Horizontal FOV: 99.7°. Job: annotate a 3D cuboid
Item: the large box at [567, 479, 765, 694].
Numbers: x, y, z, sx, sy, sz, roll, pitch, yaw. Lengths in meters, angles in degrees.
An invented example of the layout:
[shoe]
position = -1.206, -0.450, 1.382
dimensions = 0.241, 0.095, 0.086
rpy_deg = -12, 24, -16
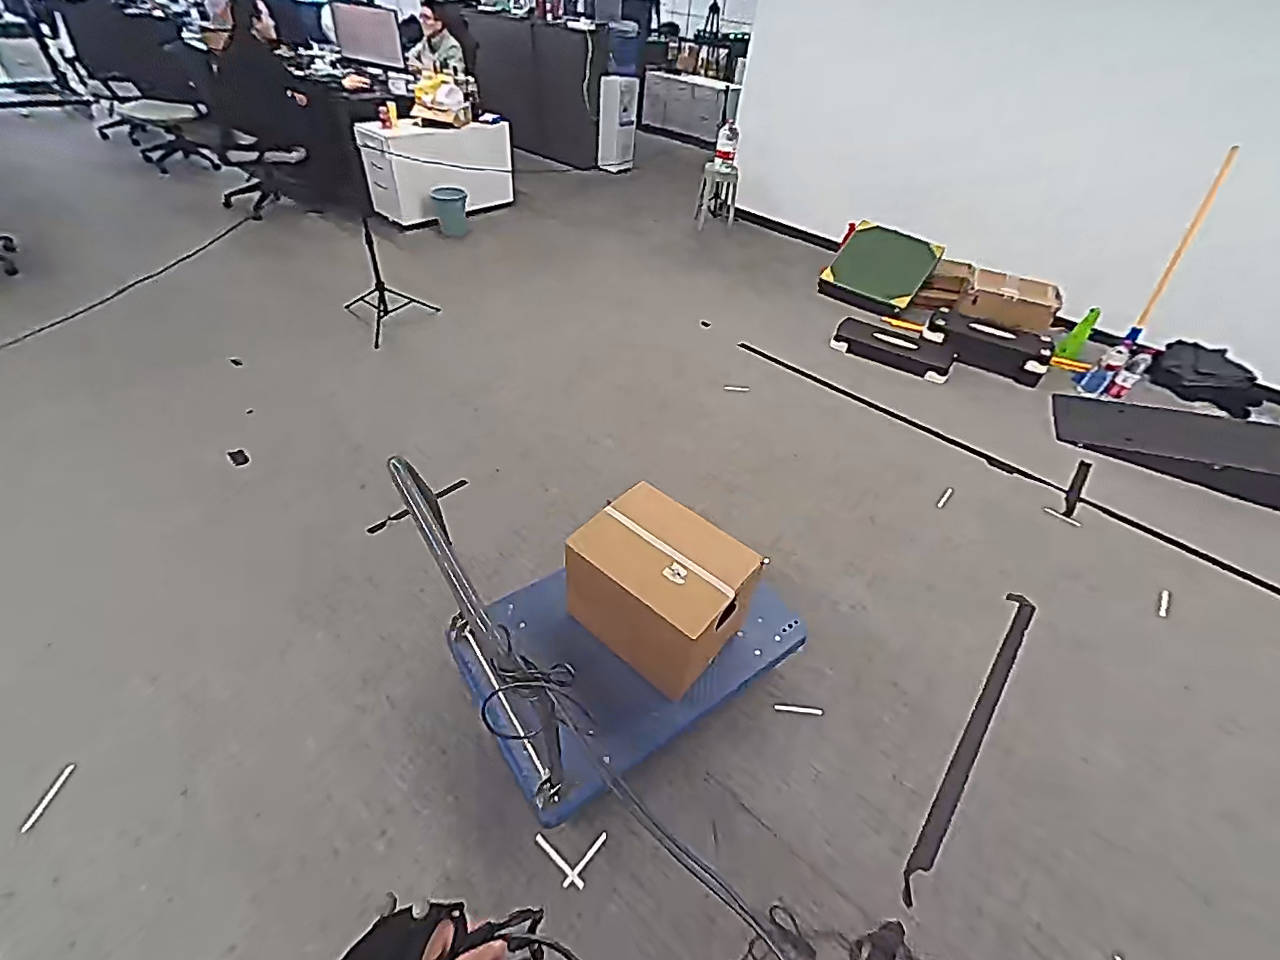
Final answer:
[large box]
position = 0.051, 0.273, 1.438
dimensions = 0.408, 0.320, 0.320
rpy_deg = 33, 50, 24
